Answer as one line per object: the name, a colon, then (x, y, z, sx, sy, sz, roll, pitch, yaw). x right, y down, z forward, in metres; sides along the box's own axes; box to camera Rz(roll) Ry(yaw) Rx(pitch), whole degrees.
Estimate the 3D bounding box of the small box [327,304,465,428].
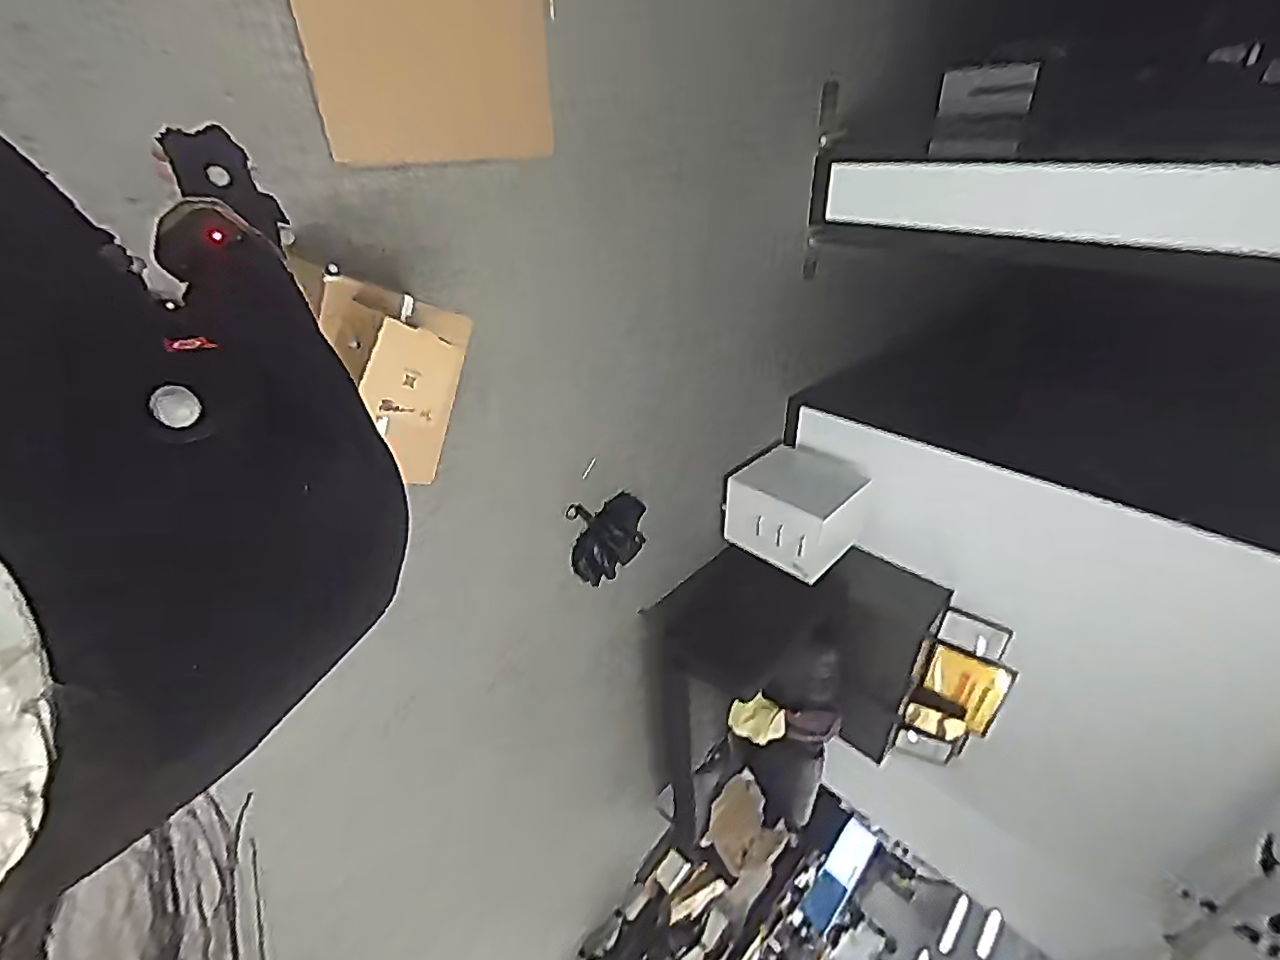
small box: (-0.477, -0.222, 1.049, 0.168, 0.176, 0.179, 12, 103, -52)
